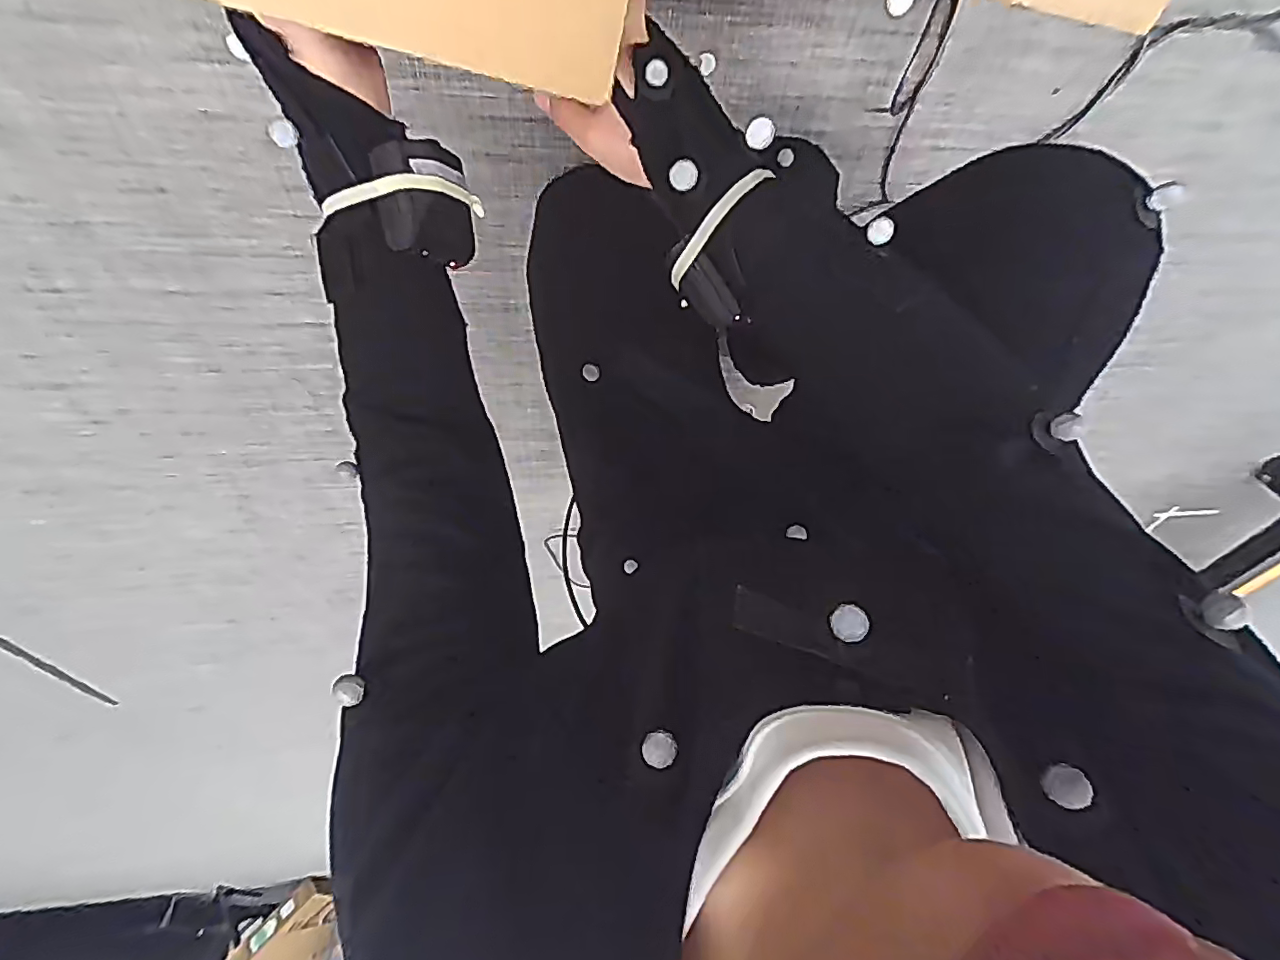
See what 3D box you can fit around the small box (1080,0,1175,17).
[{"bbox_3d":[0.150,-0.319,0.216,0.179,0.176,0.168,3,137,-12],"label":"small box"}]
